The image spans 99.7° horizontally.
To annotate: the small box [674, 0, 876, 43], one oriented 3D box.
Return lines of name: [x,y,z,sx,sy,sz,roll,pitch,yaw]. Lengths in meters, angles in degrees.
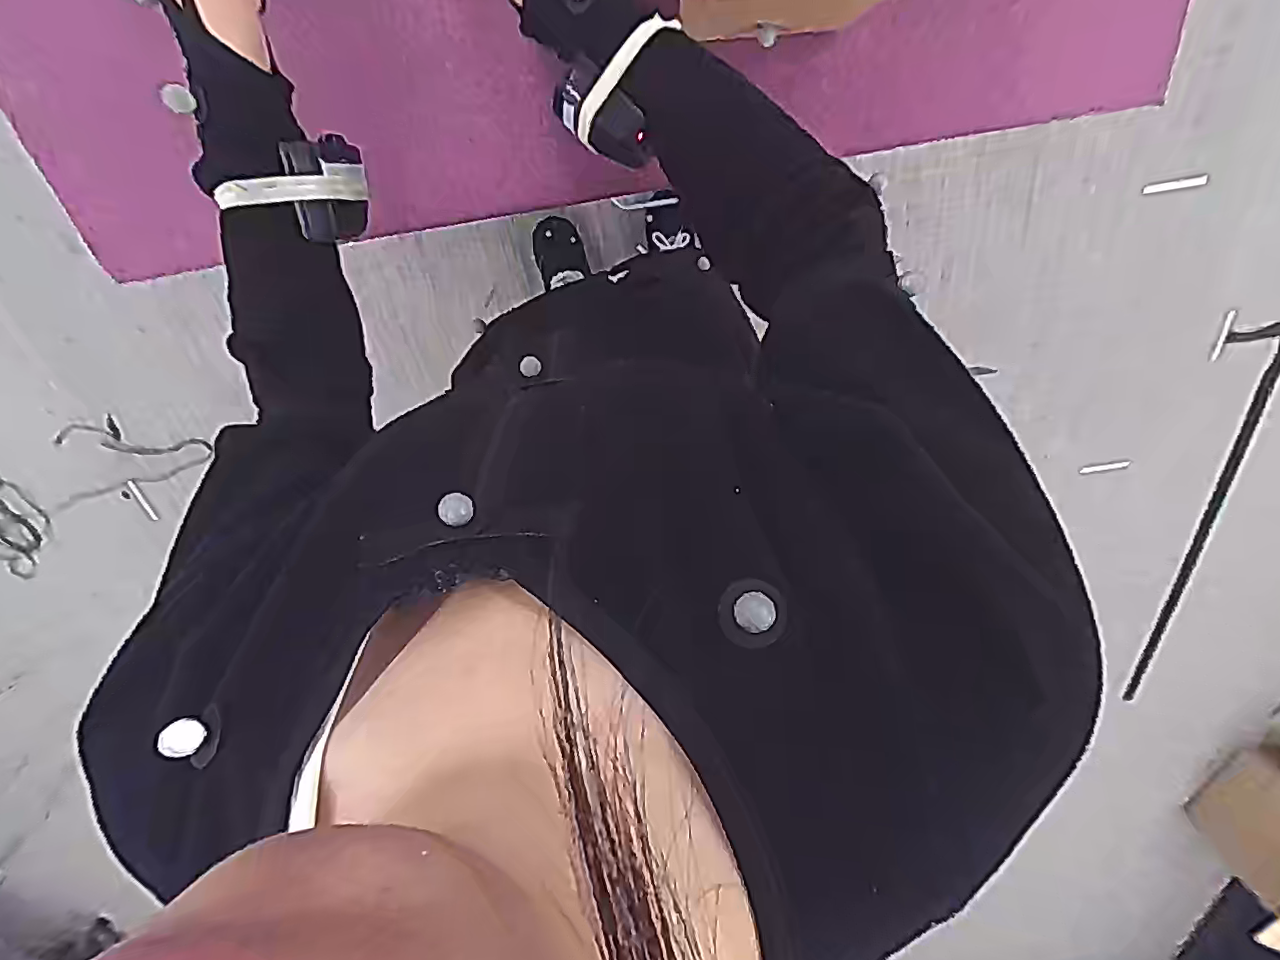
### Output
small box: [0.115,-0.489,0.440,0.168,0.176,0.179,-5,119,0]
